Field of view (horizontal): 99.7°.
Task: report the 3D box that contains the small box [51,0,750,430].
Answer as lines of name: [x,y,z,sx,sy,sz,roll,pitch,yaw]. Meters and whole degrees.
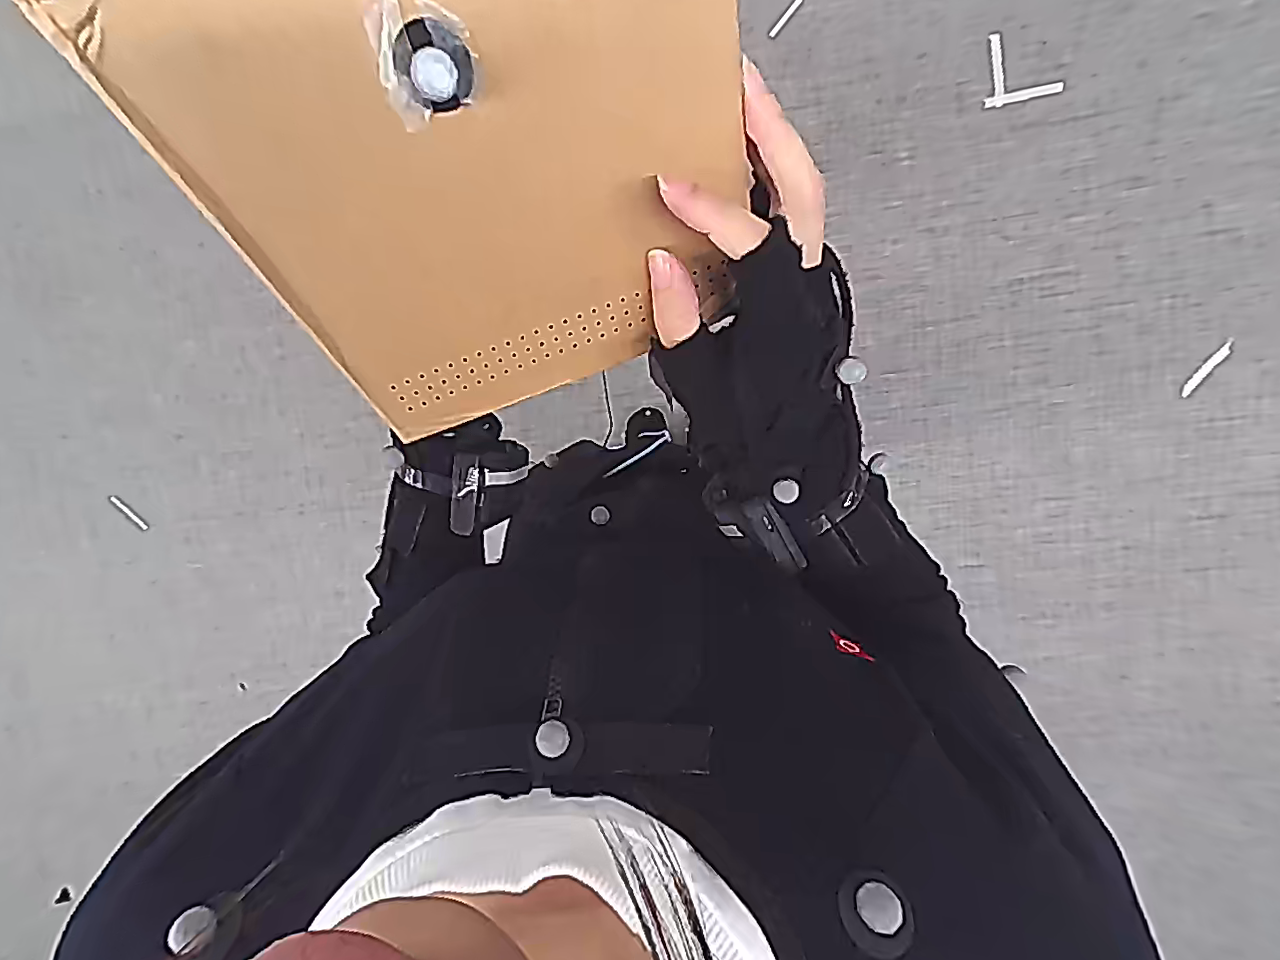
small box: [-0.064,-0.149,0.240,0.179,0.176,0.168,-20,52,0]
